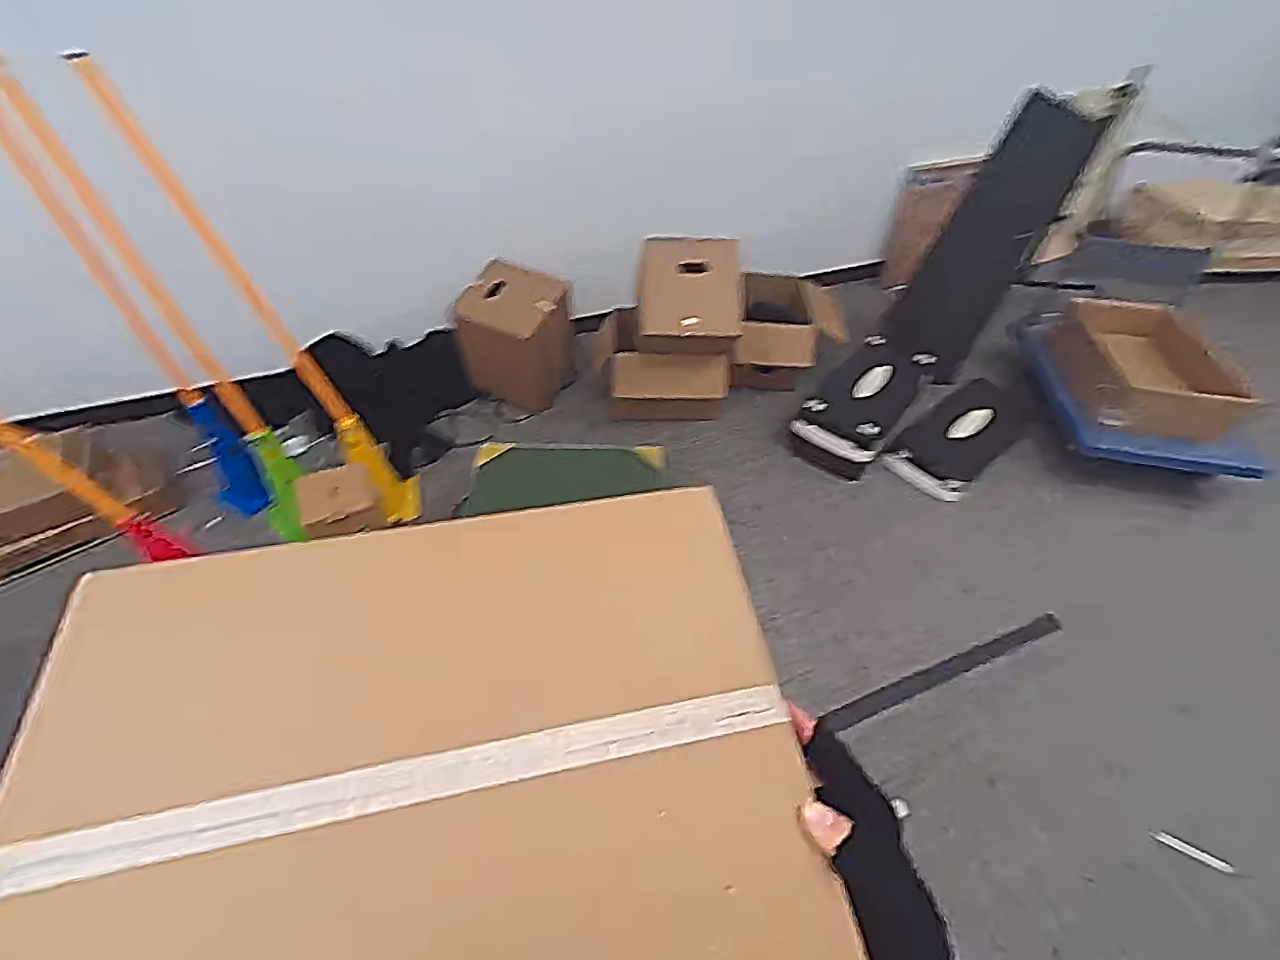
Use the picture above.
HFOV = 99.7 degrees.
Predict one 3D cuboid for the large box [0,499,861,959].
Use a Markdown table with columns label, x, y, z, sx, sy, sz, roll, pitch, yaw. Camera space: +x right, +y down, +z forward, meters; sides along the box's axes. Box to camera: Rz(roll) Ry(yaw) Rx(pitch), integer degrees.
| label | x | y | z | sx | sy | sz | roll | pitch | yaw |
| --- | --- | --- | --- | --- | --- | --- | --- | --- | --- |
| large box | -0.119 | 0.248 | 0.419 | 0.408 | 0.320 | 0.320 | -7 | 58 | -9 |
